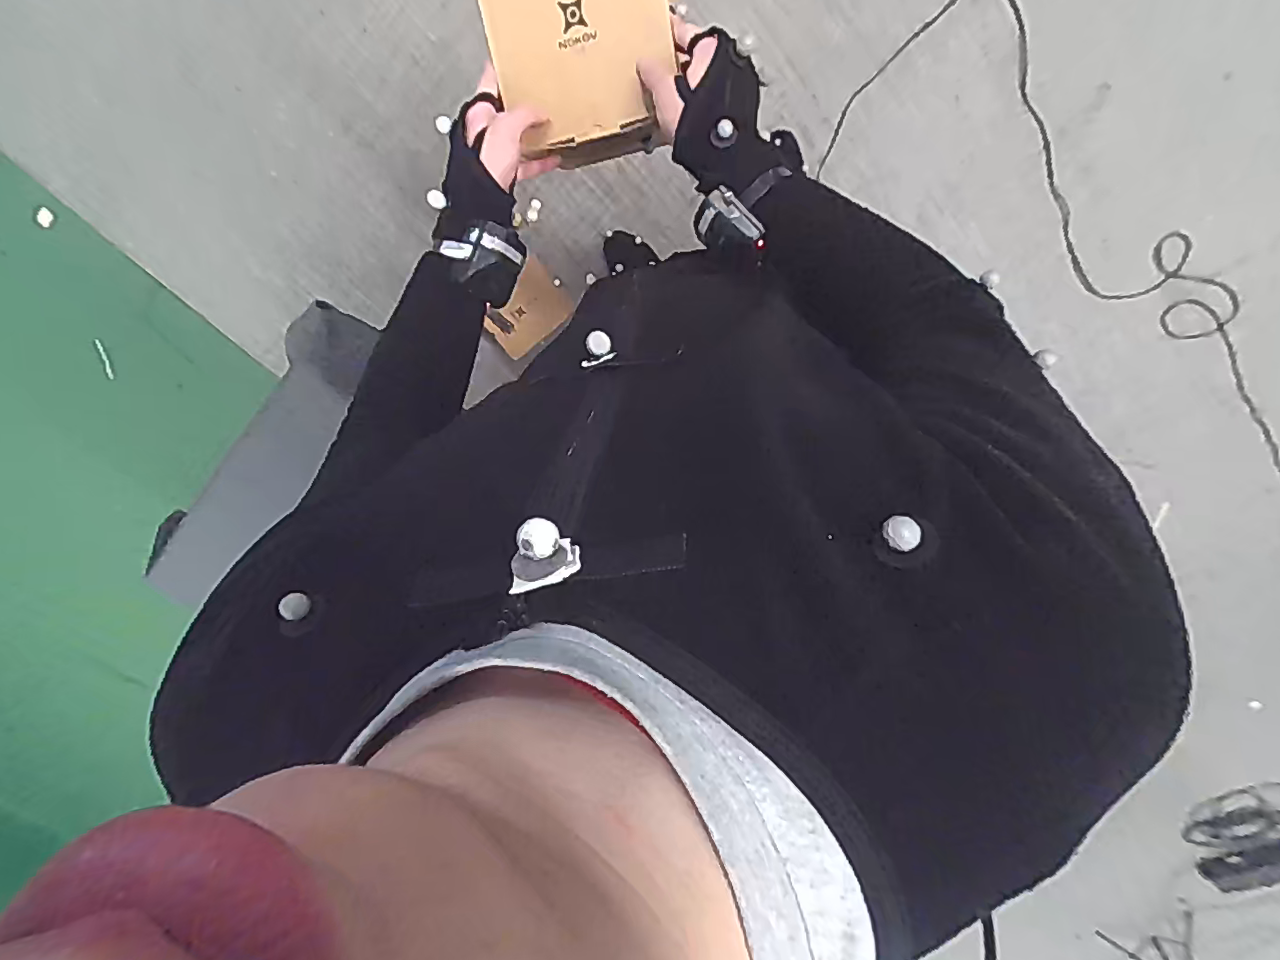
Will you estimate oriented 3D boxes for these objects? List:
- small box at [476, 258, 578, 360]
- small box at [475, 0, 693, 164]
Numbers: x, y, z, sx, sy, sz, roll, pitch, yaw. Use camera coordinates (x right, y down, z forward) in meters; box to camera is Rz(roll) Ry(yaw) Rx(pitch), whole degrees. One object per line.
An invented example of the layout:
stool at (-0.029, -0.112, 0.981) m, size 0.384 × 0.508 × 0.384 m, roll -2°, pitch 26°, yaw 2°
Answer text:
small box at (-0.278, -0.438, 1.374) m, size 0.179 × 0.176 × 0.168 m, roll -33°, pitch 112°, yaw 19°
small box at (-0.045, -0.432, 0.537) m, size 0.168 × 0.176 × 0.179 m, roll -6°, pitch 111°, yaw 14°
